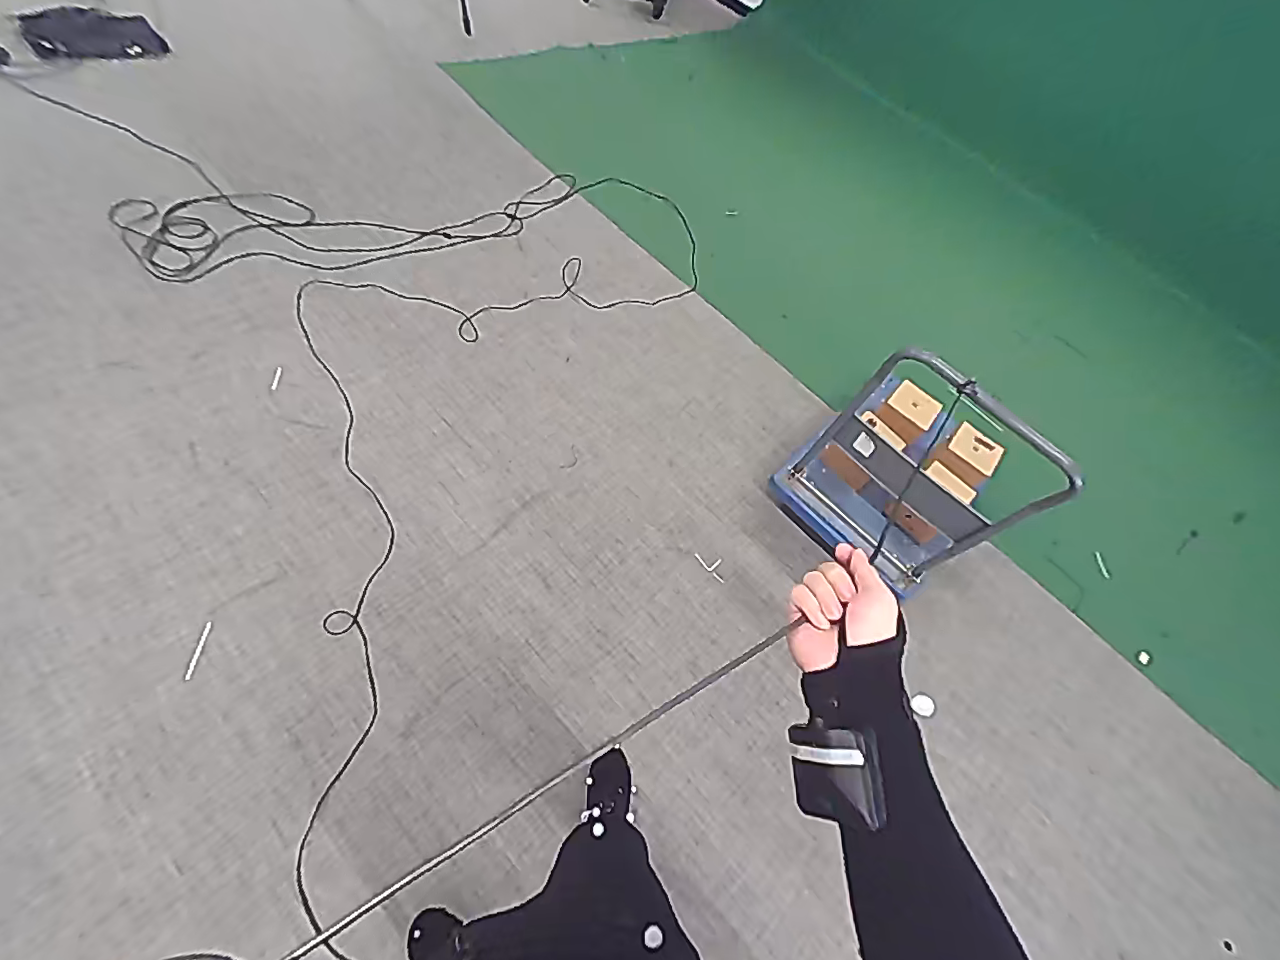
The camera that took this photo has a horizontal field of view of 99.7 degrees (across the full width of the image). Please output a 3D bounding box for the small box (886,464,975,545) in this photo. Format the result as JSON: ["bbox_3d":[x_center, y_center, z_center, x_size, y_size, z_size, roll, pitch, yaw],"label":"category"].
[{"bbox_3d":[0.964,0.084,1.806,0.179,0.176,0.168,-36,73,-29],"label":"small box"}]

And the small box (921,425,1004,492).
[{"bbox_3d":[1.150,-0.057,1.941,0.168,0.176,0.179,41,59,13],"label":"small box"}]

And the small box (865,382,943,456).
[{"bbox_3d":[0.965,-0.219,1.993,0.168,0.176,0.179,42,58,11],"label":"small box"}]
